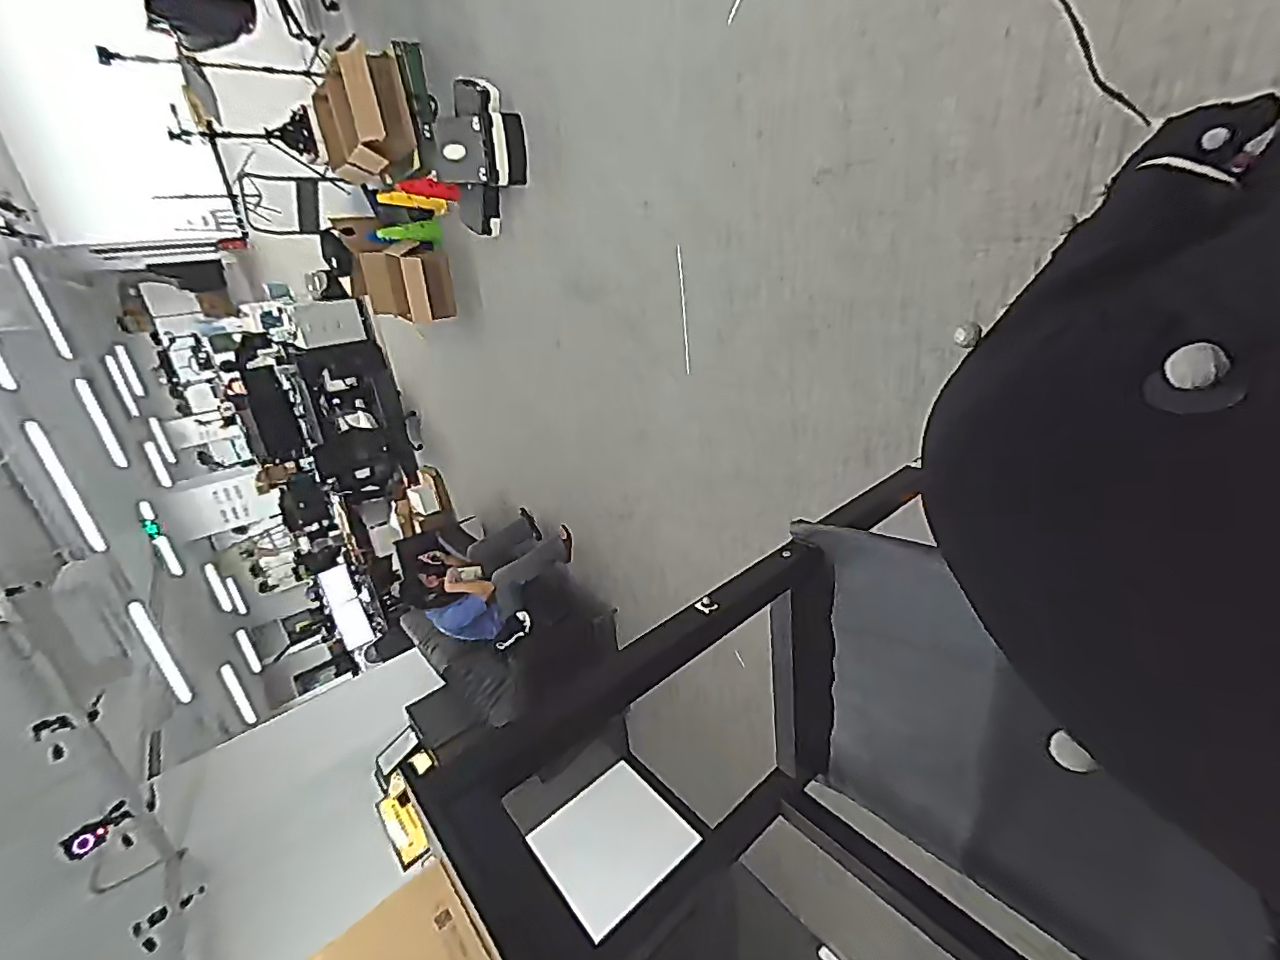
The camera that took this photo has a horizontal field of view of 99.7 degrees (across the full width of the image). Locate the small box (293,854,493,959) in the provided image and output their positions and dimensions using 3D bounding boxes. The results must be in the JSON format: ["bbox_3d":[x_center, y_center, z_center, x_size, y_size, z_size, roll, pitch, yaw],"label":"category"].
[{"bbox_3d":[-0.220,0.512,0.509,0.168,0.176,0.179,23,127,45],"label":"small box"}]
